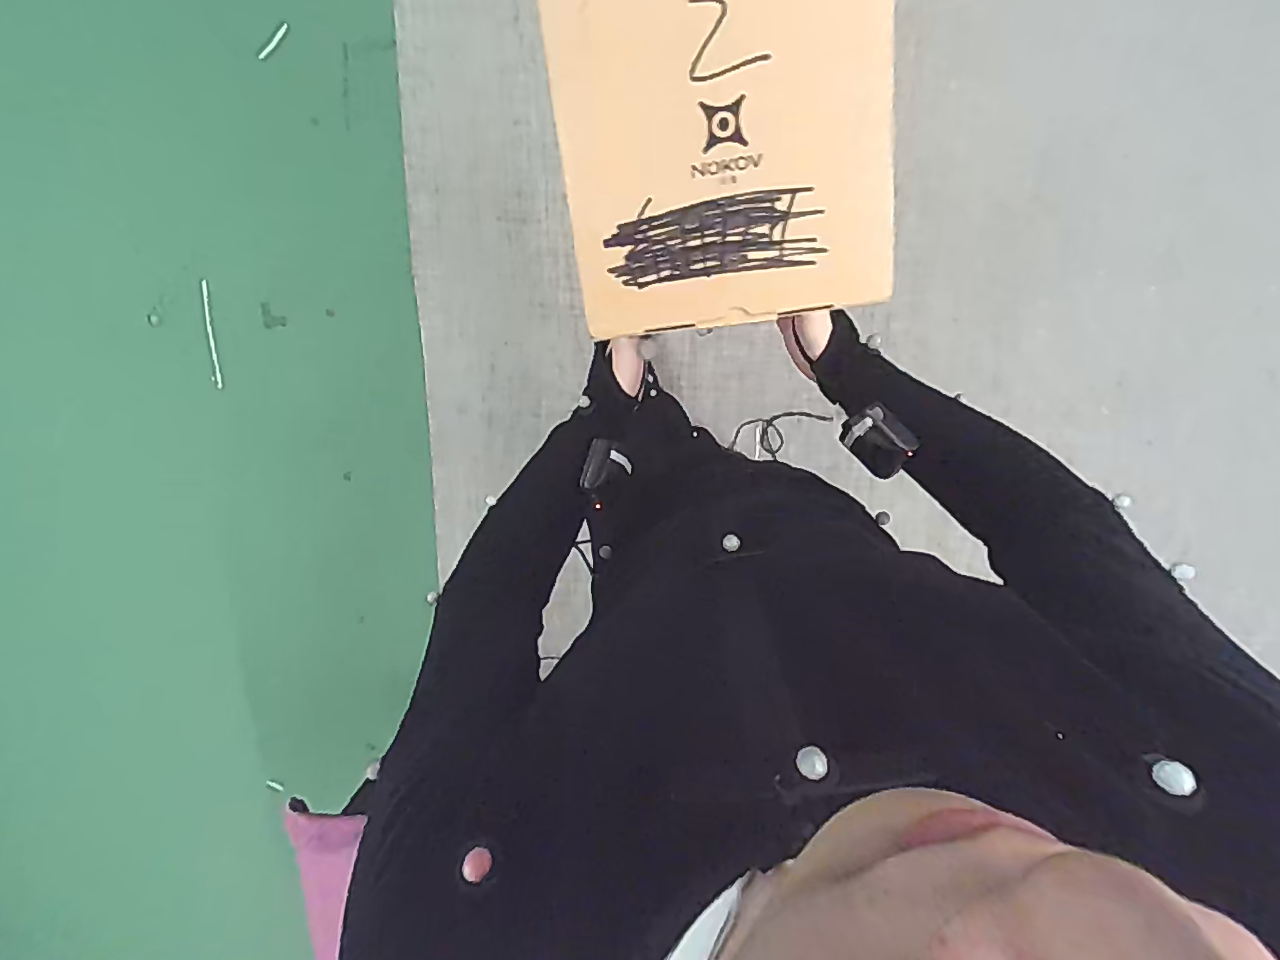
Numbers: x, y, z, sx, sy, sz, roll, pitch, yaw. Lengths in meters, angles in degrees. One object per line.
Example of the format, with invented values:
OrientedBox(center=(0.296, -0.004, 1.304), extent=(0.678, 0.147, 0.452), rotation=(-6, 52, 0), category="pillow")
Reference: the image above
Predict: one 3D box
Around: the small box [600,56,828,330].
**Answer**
OrientedBox(center=(0.065, -0.241, 0.503), extent=(0.168, 0.176, 0.179), rotation=(-8, 107, 6), category="small box")
